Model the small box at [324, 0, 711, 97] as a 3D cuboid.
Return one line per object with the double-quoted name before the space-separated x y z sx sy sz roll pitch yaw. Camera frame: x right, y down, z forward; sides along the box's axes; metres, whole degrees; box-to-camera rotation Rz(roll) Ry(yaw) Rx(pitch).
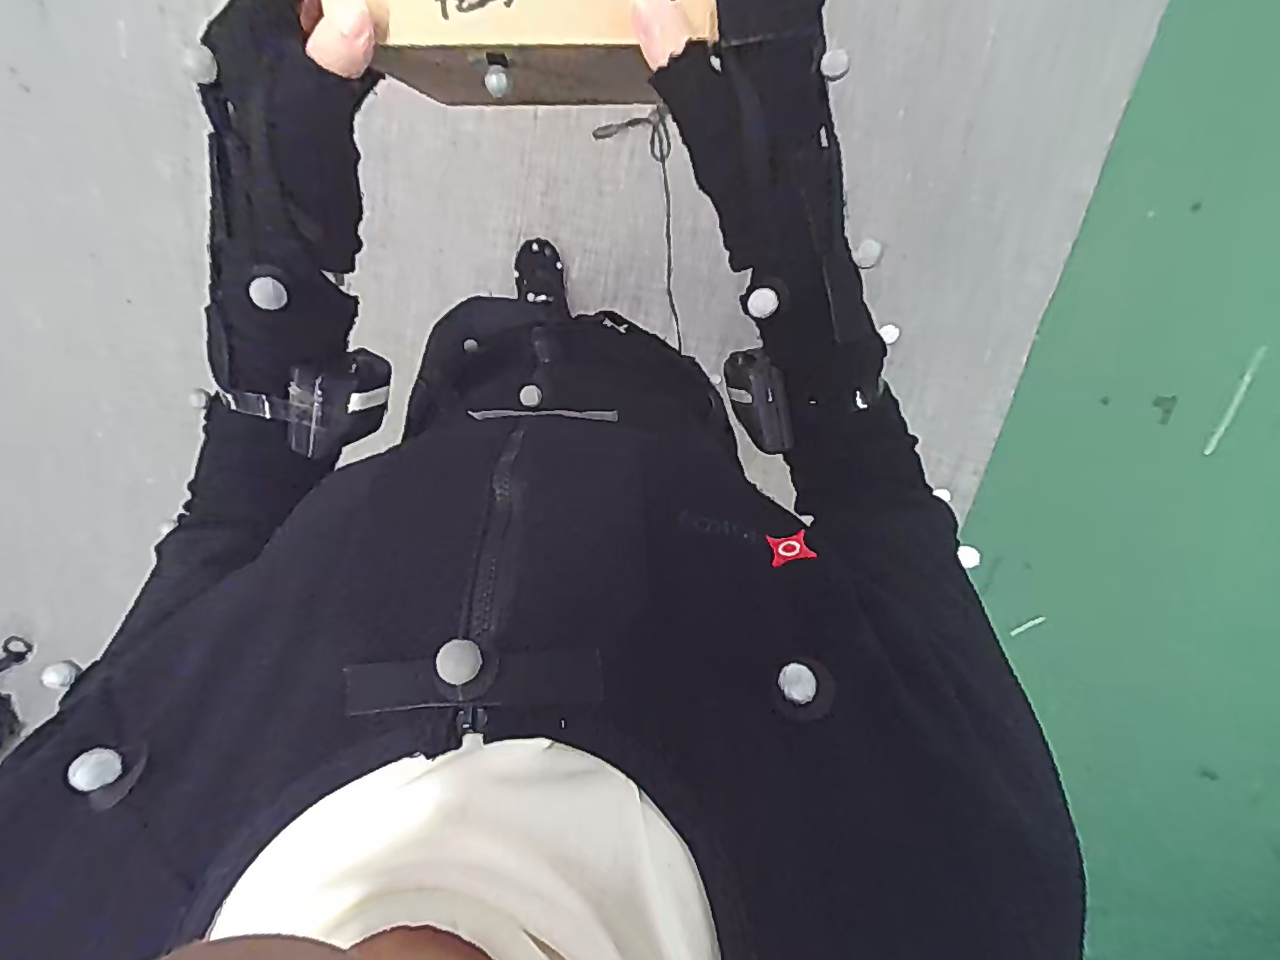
"small box" -0.055 -0.307 0.261 0.168 0.176 0.179 -2 117 -2
